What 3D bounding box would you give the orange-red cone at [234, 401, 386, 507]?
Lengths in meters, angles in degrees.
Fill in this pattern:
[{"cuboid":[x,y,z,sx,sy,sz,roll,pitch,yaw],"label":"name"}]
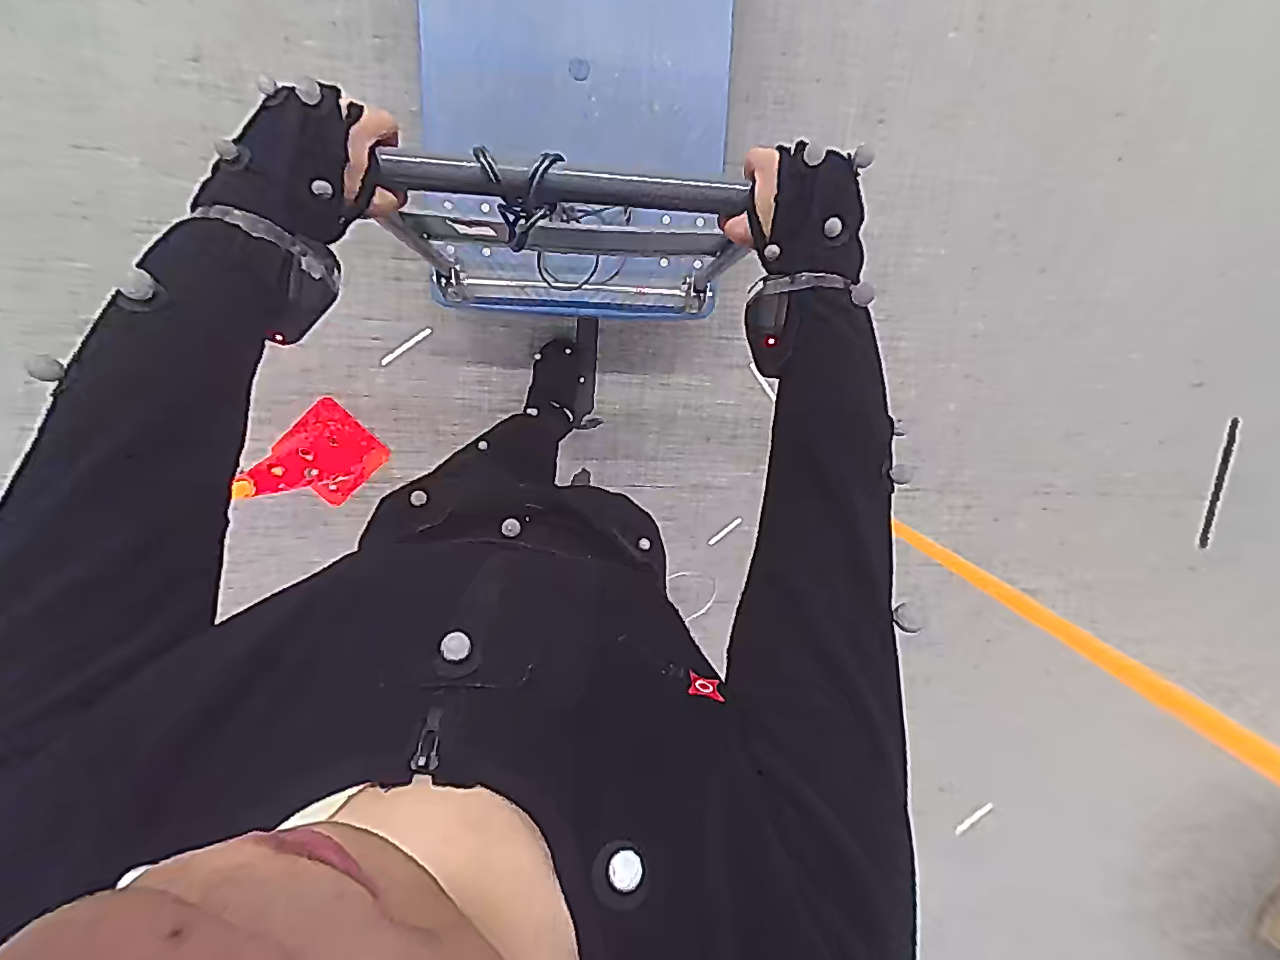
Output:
[{"cuboid":[-0.703,-0.022,1.097,0.199,0.360,0.198,-42,105,2],"label":"orange-red cone"}]
